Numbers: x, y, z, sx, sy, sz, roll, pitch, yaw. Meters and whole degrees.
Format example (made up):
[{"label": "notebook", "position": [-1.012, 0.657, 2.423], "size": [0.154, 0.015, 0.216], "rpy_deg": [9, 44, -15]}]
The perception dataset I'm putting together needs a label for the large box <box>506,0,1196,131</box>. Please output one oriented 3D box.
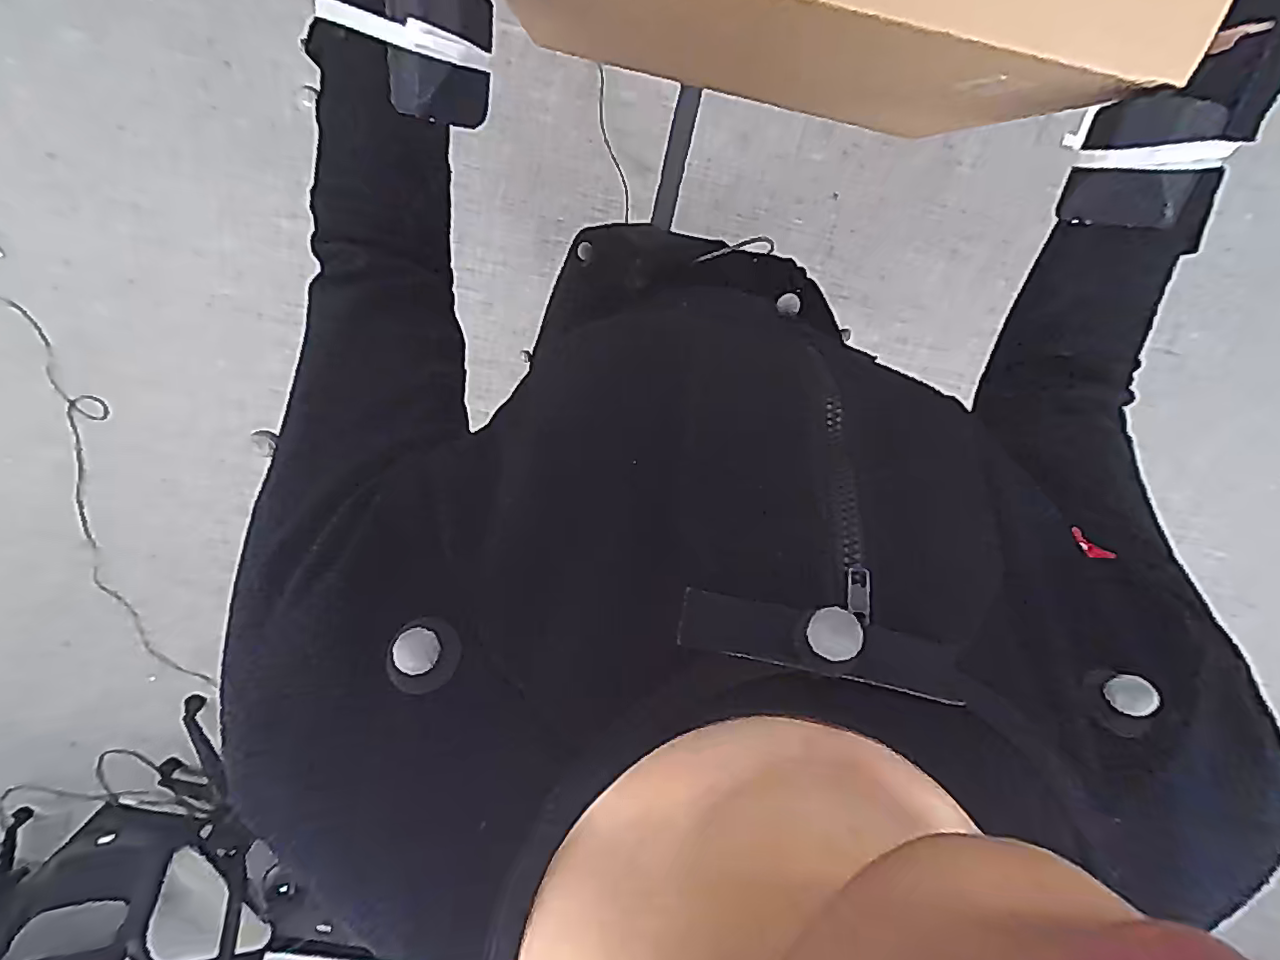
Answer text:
[{"label": "large box", "position": [0.118, -0.454, 0.347], "size": [0.408, 0.320, 0.320], "rpy_deg": [9, 119, -6]}]
